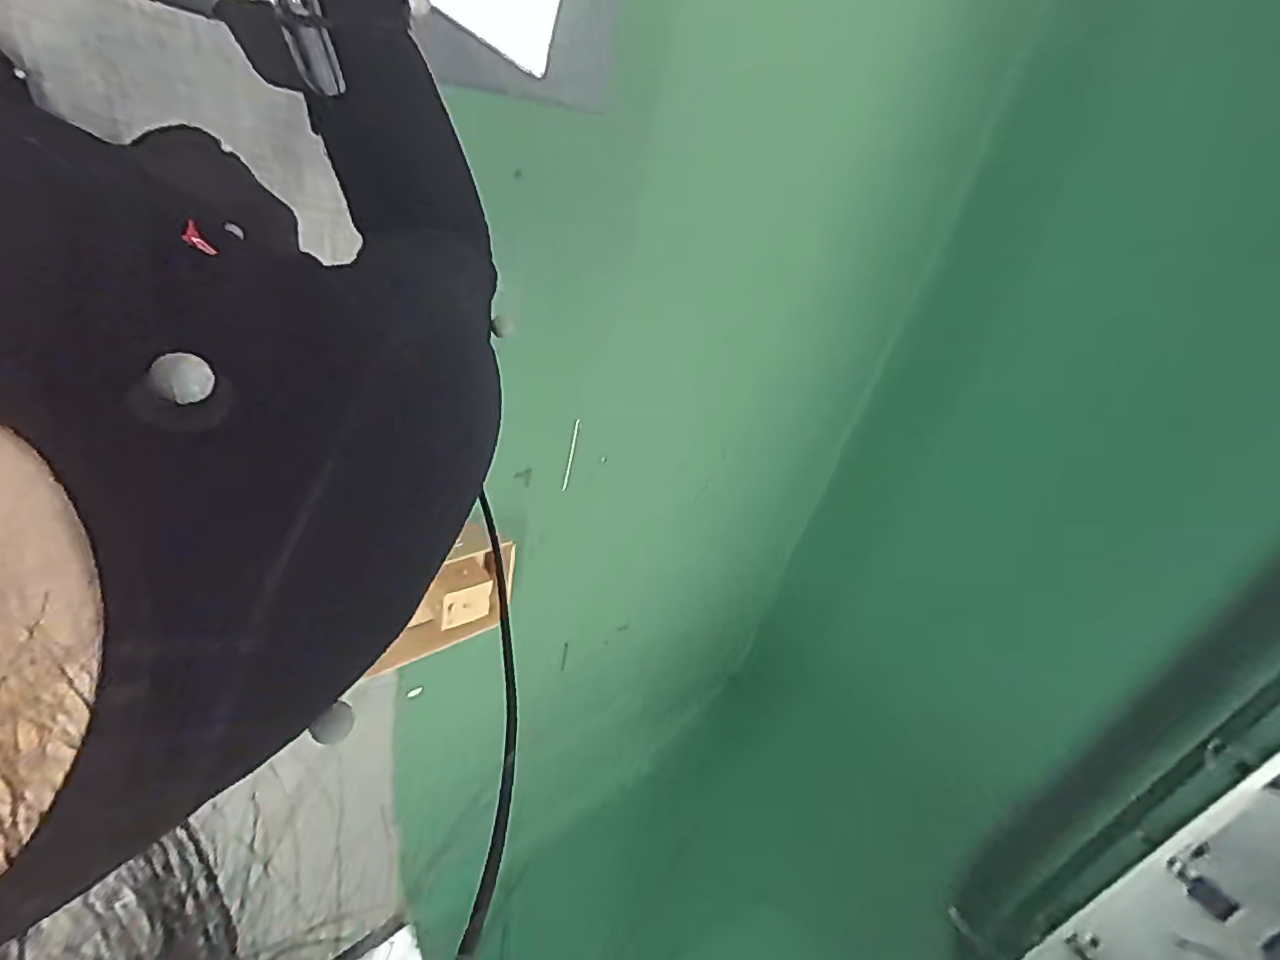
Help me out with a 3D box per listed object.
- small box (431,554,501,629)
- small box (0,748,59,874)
[{"bbox_3d":[-0.616,0.384,1.906,0.179,0.176,0.168,-14,130,-40],"label":"small box"},{"bbox_3d":[-1.361,0.708,1.132,0.168,0.176,0.179,-17,131,-42],"label":"small box"}]
